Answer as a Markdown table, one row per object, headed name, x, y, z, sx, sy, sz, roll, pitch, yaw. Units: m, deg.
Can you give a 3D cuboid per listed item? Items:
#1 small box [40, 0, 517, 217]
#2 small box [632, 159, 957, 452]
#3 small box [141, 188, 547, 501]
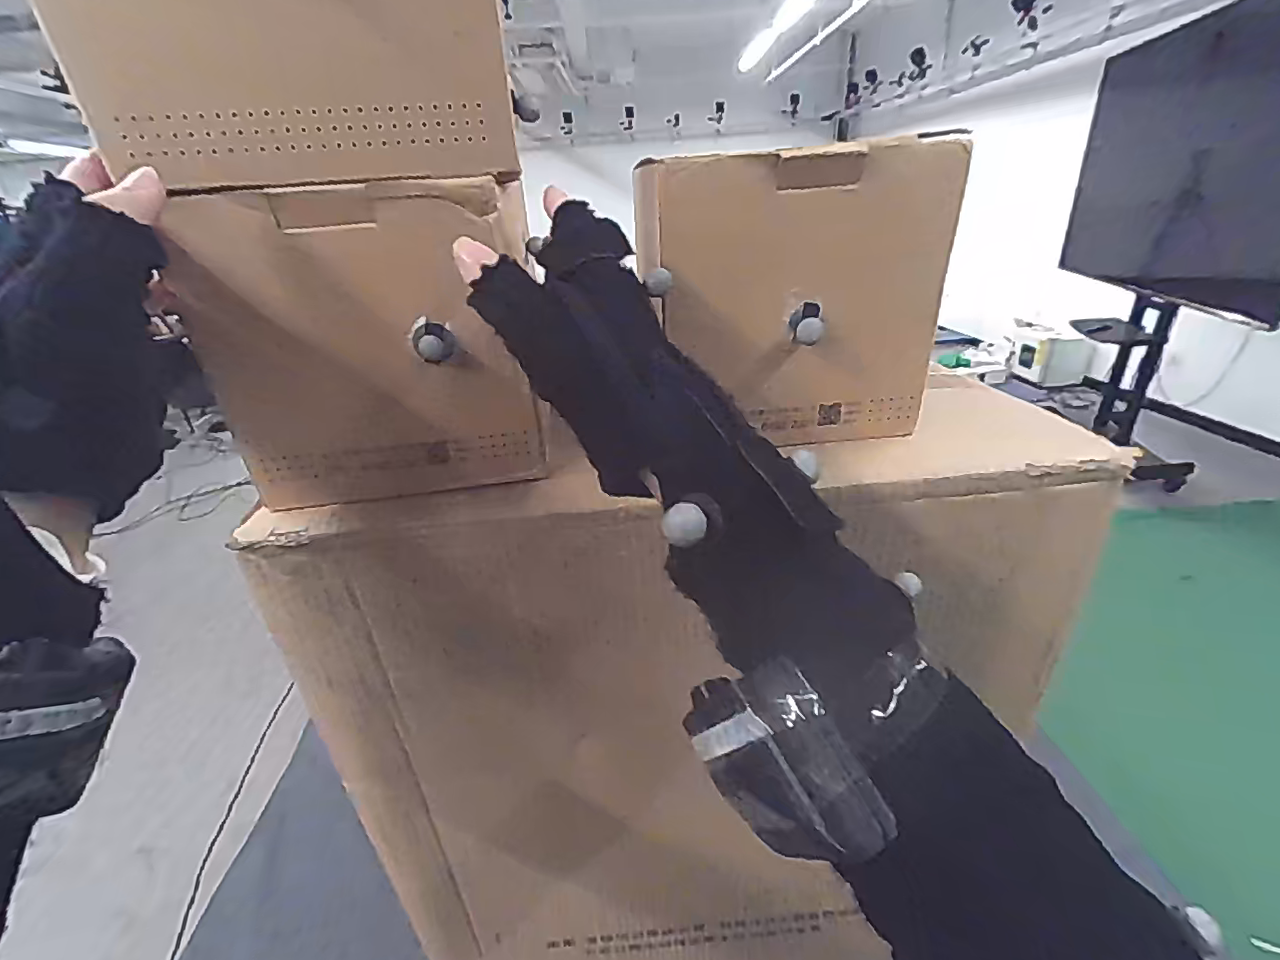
| name | x | y | z | sx | sy | sz | roll | pitch | yaw |
| --- | --- | --- | --- | --- | --- | --- | --- | --- | --- |
| small box | -0.161 | -0.236 | 0.281 | 0.179 | 0.176 | 0.168 | -8 | 30 | -12 |
| small box | 0.084 | -0.126 | 0.388 | 0.168 | 0.176 | 0.179 | -4 | 29 | -3 |
| small box | -0.156 | -0.095 | 0.365 | 0.168 | 0.176 | 0.179 | -6 | 28 | -5 |
